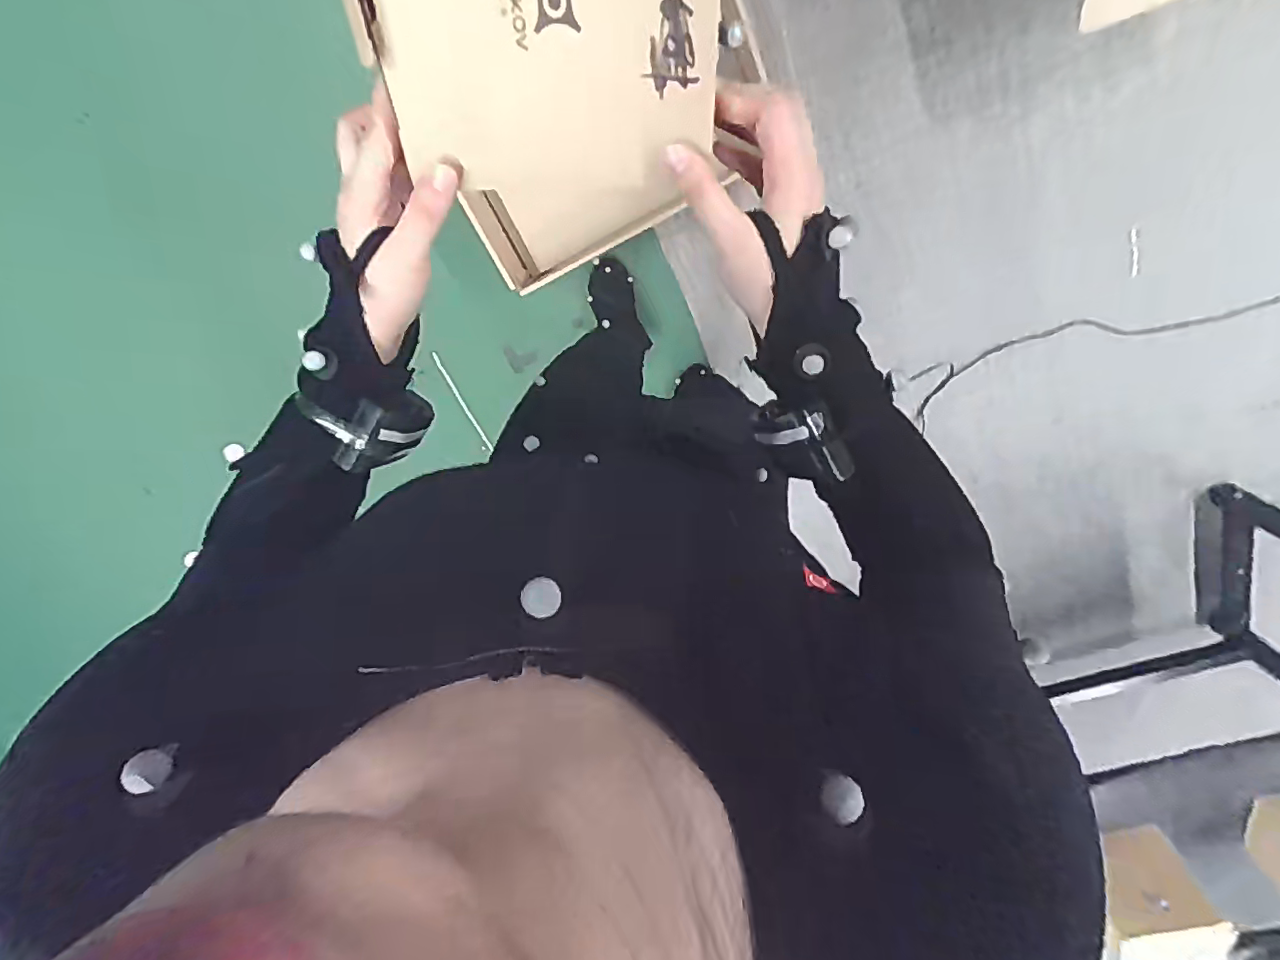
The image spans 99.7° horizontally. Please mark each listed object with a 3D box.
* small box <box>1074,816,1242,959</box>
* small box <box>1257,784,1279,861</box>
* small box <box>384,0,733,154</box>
[{"bbox_3d":[0.969,0.781,1.031,0.179,0.176,0.168,-22,116,12],"label":"small box"},{"bbox_3d":[1.264,0.653,0.952,0.168,0.176,0.179,-19,116,11],"label":"small box"},{"bbox_3d":[-0.037,-0.300,0.310,0.179,0.176,0.168,1,134,3],"label":"small box"}]
